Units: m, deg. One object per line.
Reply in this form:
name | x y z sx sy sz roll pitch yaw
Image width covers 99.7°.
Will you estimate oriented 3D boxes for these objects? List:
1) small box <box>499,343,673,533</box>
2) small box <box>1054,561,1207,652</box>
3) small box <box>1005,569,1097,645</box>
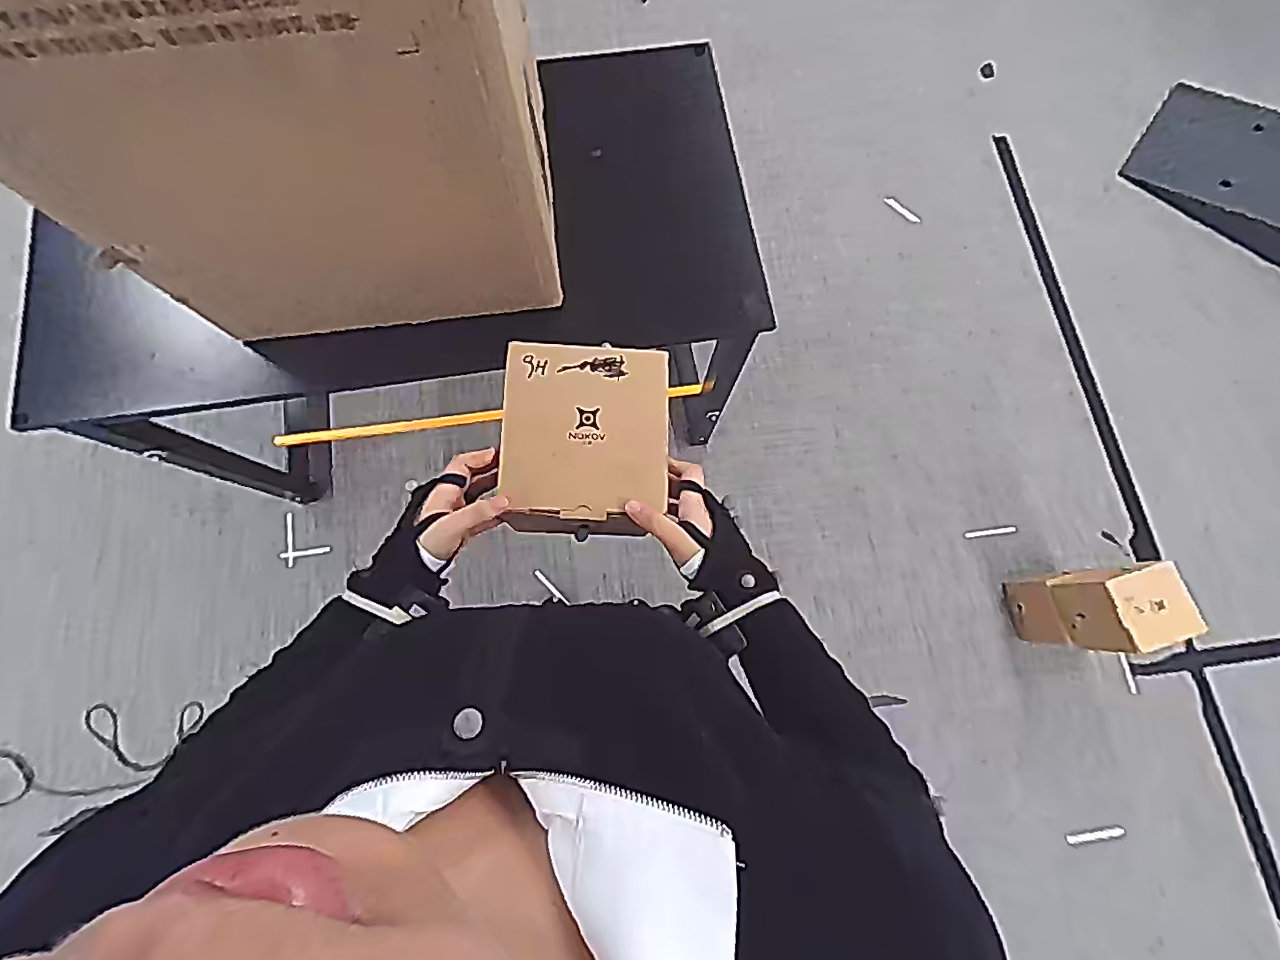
small box | -0.058 -0.034 0.610 0.168 0.176 0.179 2 79 -6
small box | 1.145 0.297 1.278 0.179 0.176 0.168 -16 76 -5
small box | 1.129 0.334 1.439 0.179 0.176 0.168 -12 76 -3
